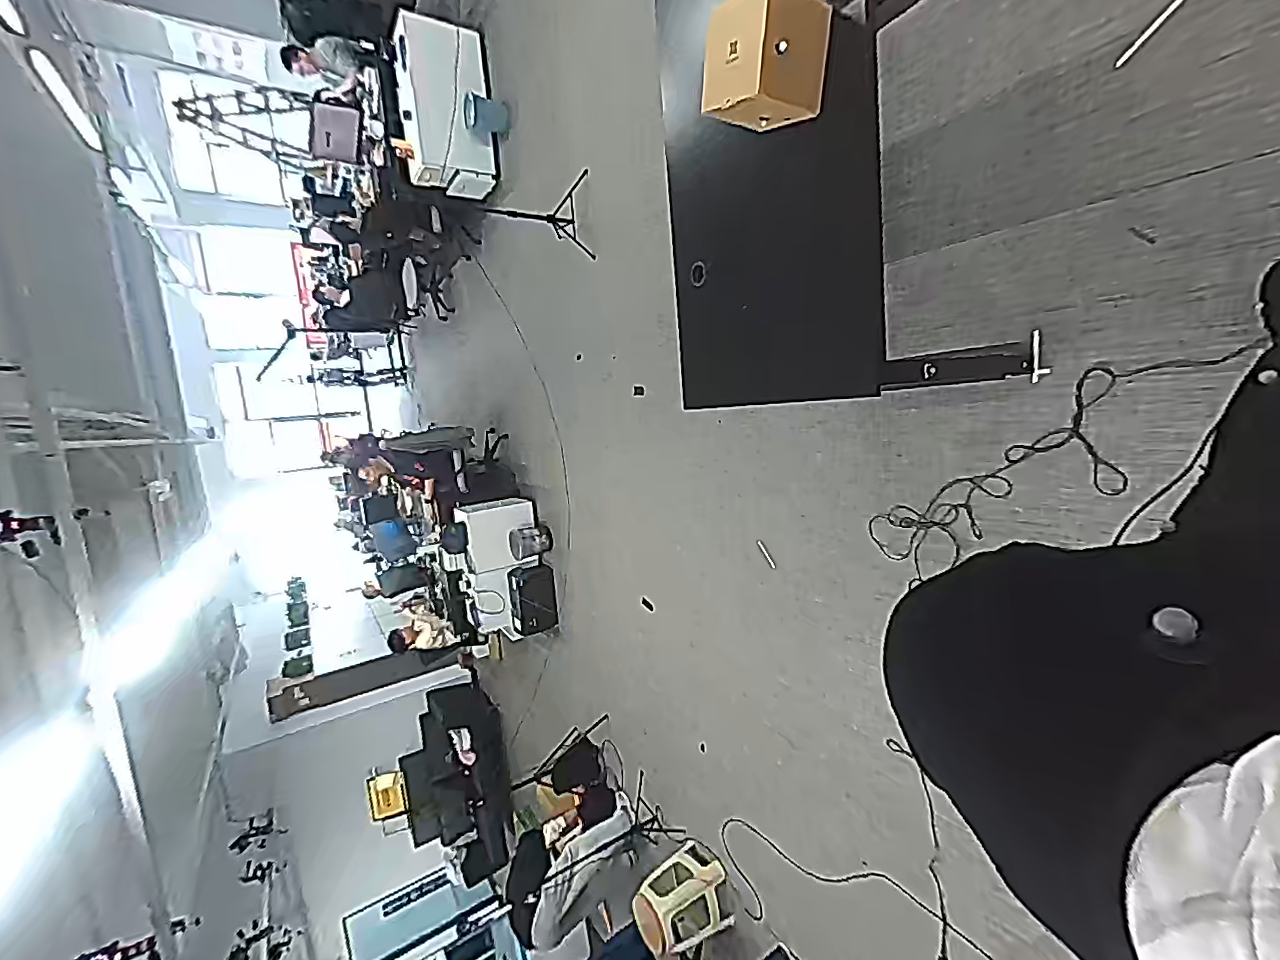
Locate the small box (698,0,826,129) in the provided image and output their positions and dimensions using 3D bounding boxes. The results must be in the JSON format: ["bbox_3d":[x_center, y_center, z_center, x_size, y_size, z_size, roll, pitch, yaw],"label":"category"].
[{"bbox_3d":[0.234,-0.808,1.045,0.168,0.176,0.179,29,123,52],"label":"small box"}]
